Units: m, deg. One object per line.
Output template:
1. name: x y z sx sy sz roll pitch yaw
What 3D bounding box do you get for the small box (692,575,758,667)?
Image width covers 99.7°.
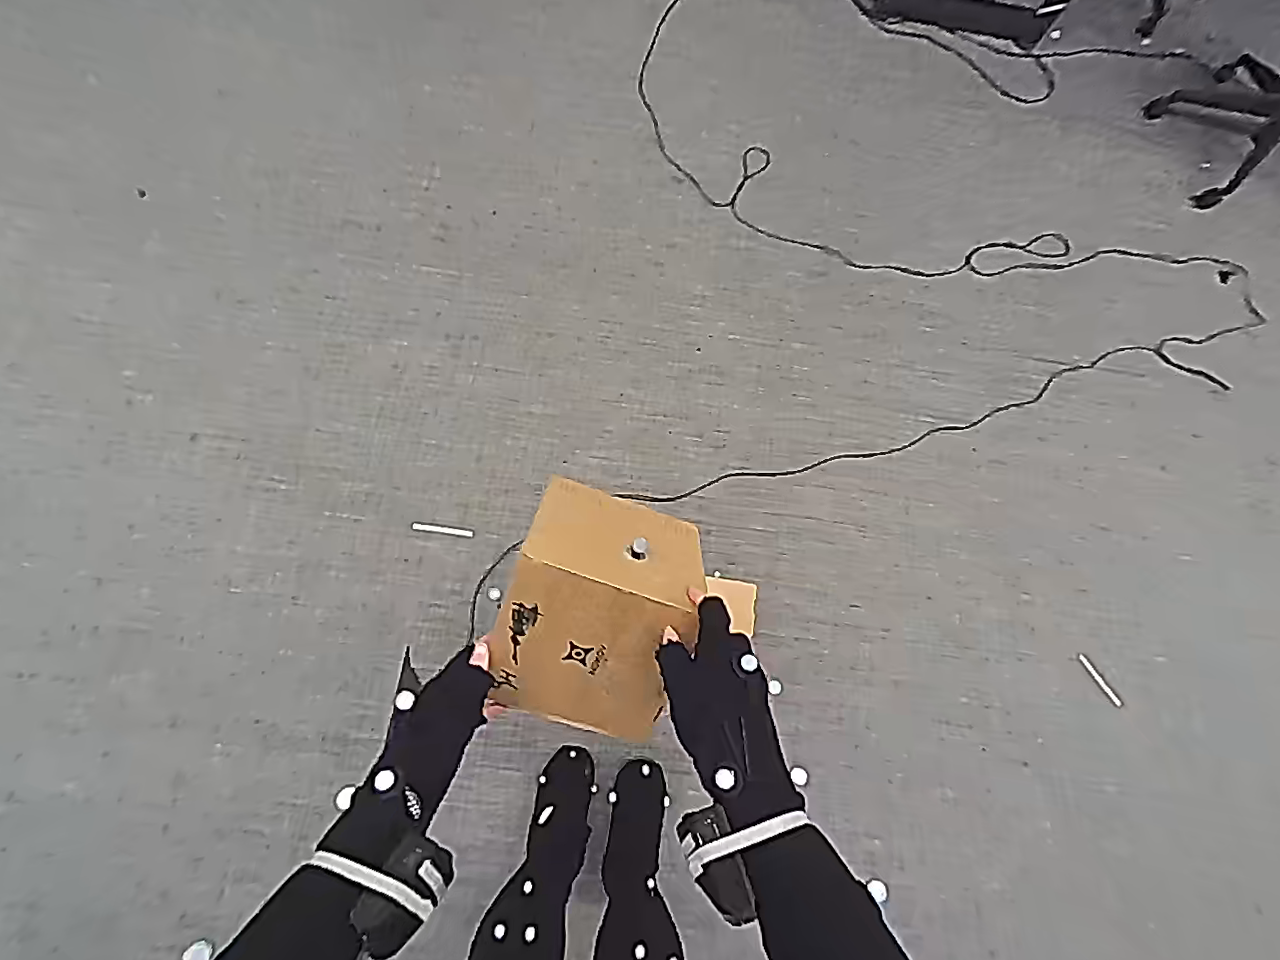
1. small box: 0.139 0.303 1.172 0.179 0.176 0.168 11 75 -4

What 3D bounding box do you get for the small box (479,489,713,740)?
1. small box: -0.044 0.130 0.570 0.179 0.176 0.168 21 111 -8
